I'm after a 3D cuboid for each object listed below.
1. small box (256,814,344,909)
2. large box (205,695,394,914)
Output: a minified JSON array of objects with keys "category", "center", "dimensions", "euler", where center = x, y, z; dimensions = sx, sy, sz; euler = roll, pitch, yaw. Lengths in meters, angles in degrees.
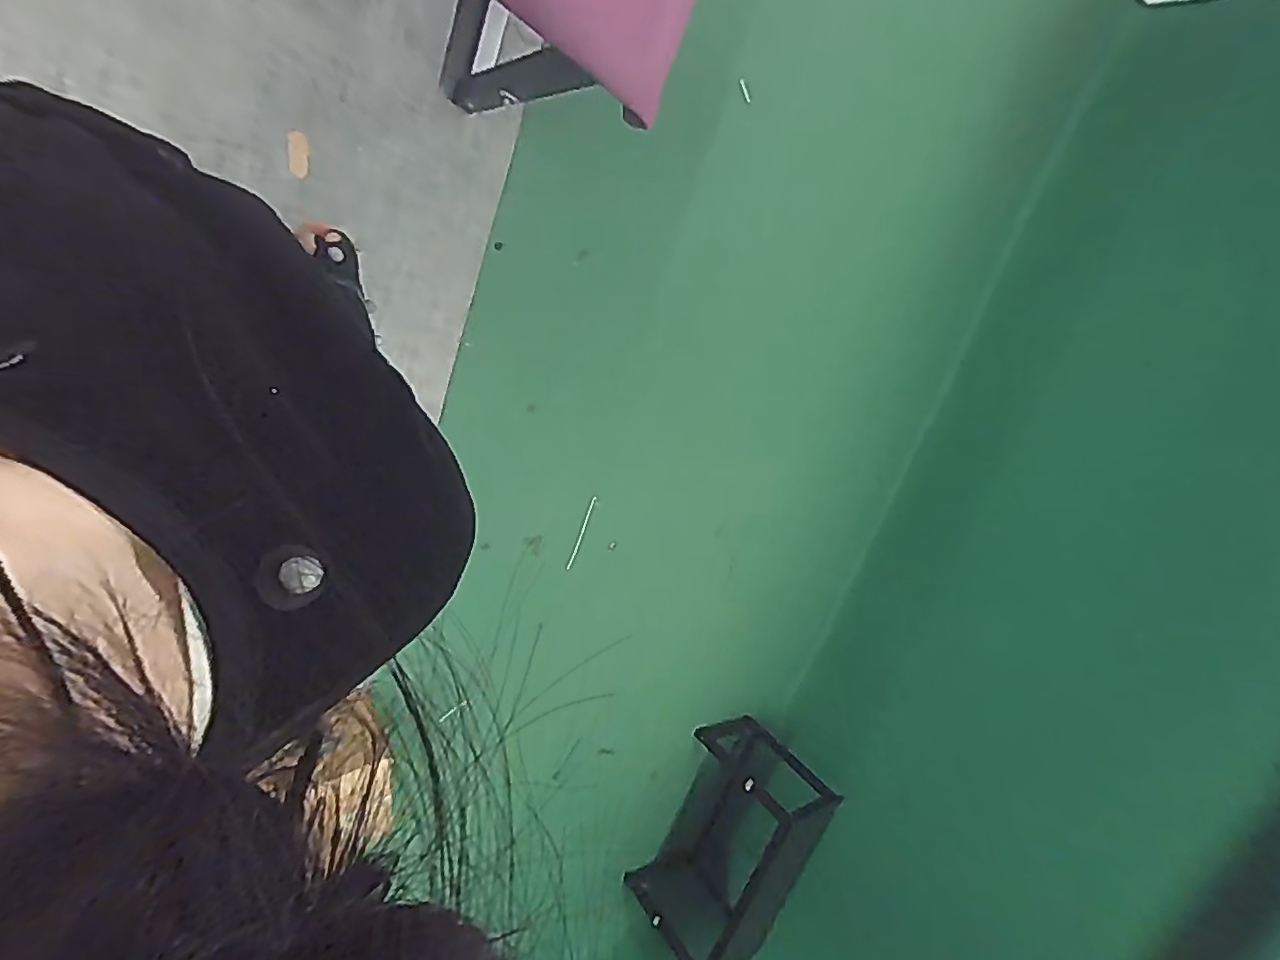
[{"category":"small box","center":[-0.860,0.992,1.371],"dimensions":[0.168,0.176,0.179],"euler":[-8,116,-38]},{"category":"large box","center":[-0.979,0.909,1.573],"dimensions":[0.408,0.320,0.320],"euler":[-10,119,-39]}]
